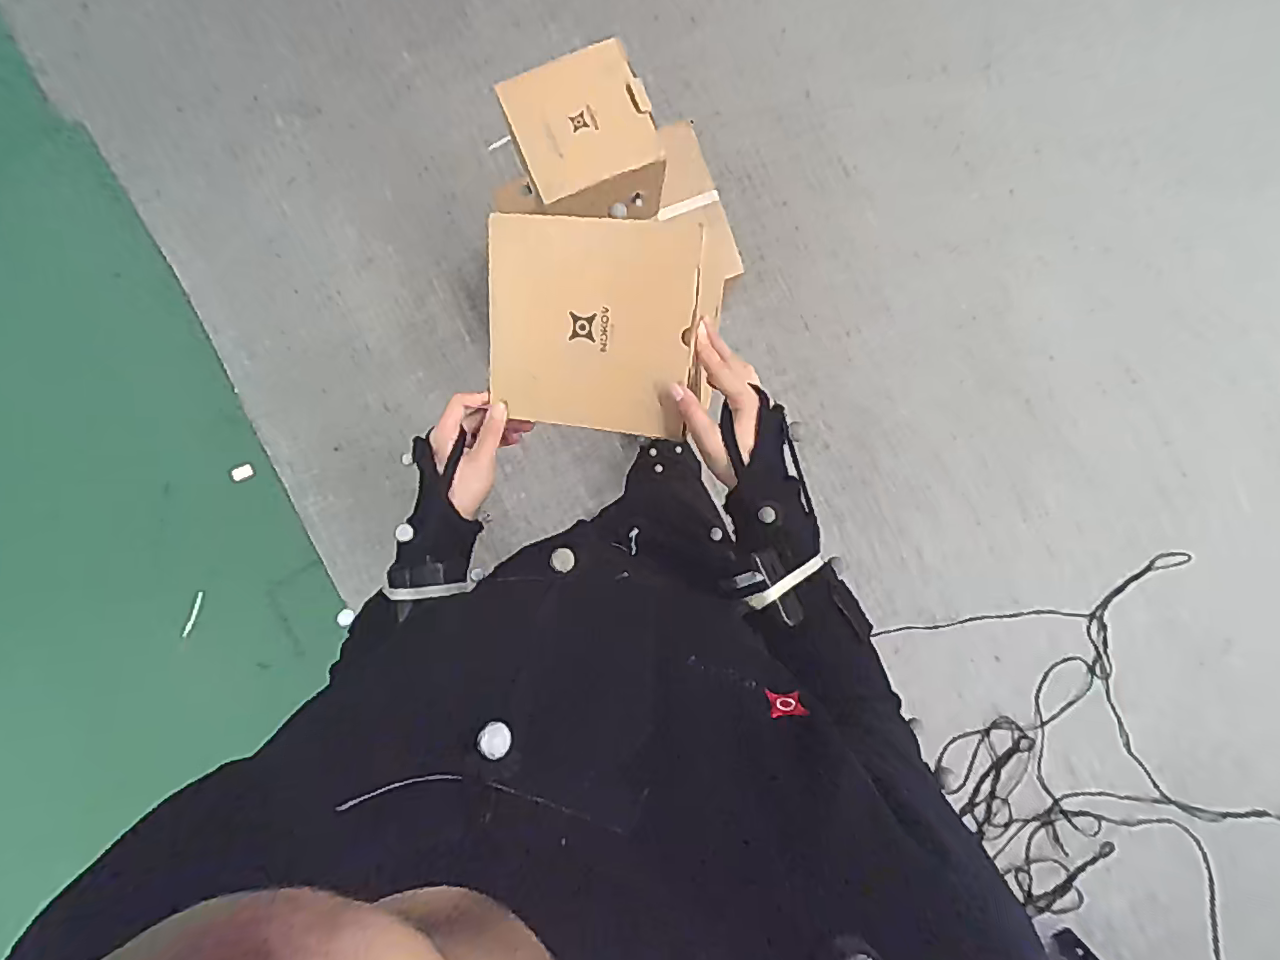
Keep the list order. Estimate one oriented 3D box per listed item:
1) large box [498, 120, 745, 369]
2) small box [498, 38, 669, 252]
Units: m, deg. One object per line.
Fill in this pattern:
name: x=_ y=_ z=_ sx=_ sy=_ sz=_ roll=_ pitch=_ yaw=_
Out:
large box: x=-0.040 y=-0.478 z=1.177 sx=0.408 sy=0.320 sz=0.320 roll=-21 pitch=93 yaw=-2
small box: x=-0.074 y=-0.459 z=0.770 sx=0.179 sy=0.176 sz=0.168 roll=-23 pitch=91 yaw=0
